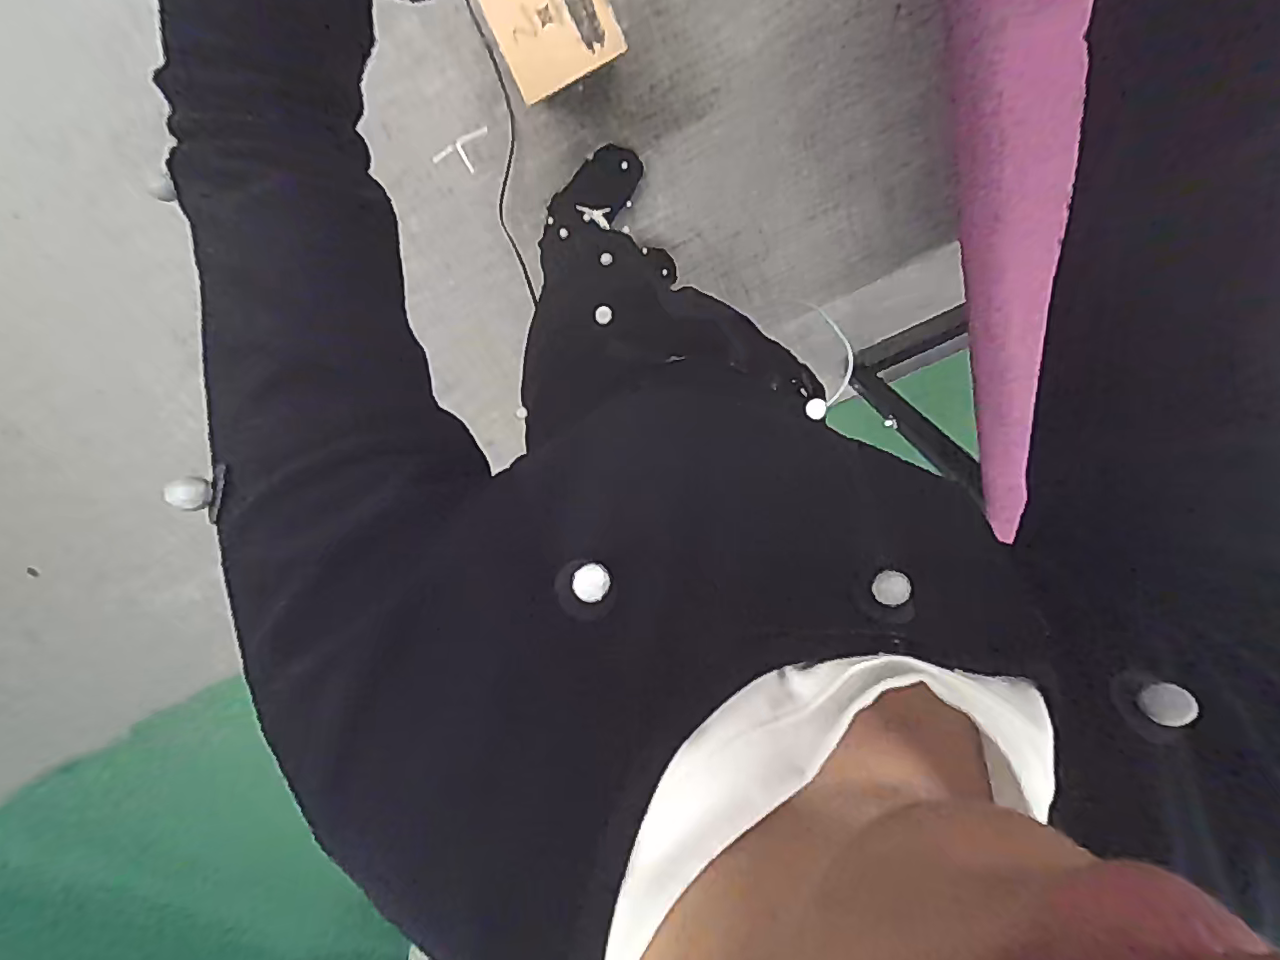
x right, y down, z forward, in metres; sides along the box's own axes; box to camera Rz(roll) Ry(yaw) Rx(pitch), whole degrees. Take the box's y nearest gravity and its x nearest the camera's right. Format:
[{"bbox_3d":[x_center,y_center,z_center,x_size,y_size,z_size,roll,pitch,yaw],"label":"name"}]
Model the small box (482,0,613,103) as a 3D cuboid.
[{"bbox_3d":[-0.165,-0.813,0.976,0.179,0.176,0.168,-21,124,8],"label":"small box"}]
